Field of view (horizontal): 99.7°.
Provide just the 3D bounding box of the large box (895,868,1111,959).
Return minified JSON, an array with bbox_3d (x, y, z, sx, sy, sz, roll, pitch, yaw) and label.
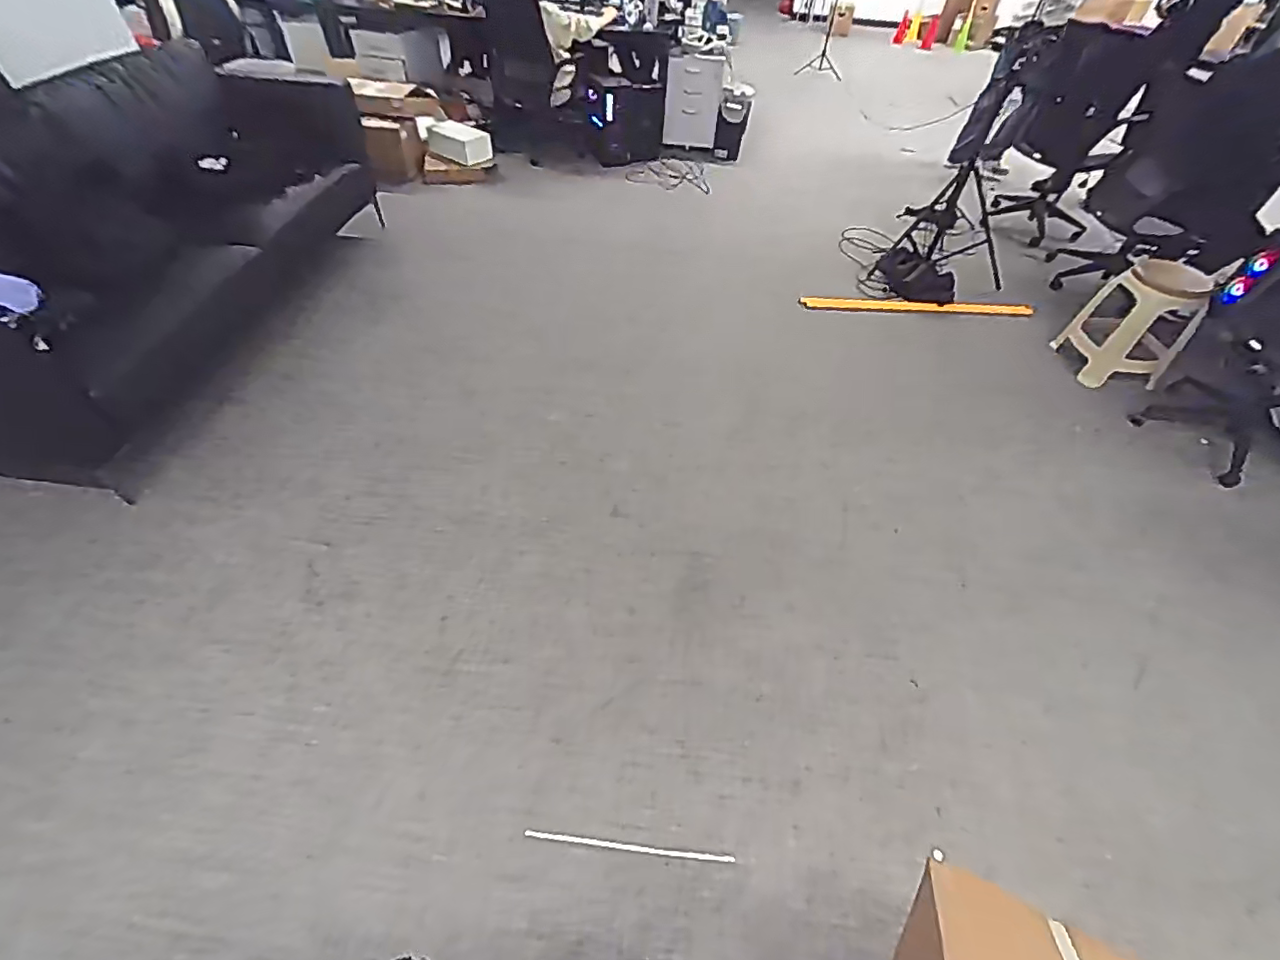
[{"bbox_3d":[0.439,0.752,0.571,0.320,0.408,0.320,20,95,22],"label":"large box"}]
